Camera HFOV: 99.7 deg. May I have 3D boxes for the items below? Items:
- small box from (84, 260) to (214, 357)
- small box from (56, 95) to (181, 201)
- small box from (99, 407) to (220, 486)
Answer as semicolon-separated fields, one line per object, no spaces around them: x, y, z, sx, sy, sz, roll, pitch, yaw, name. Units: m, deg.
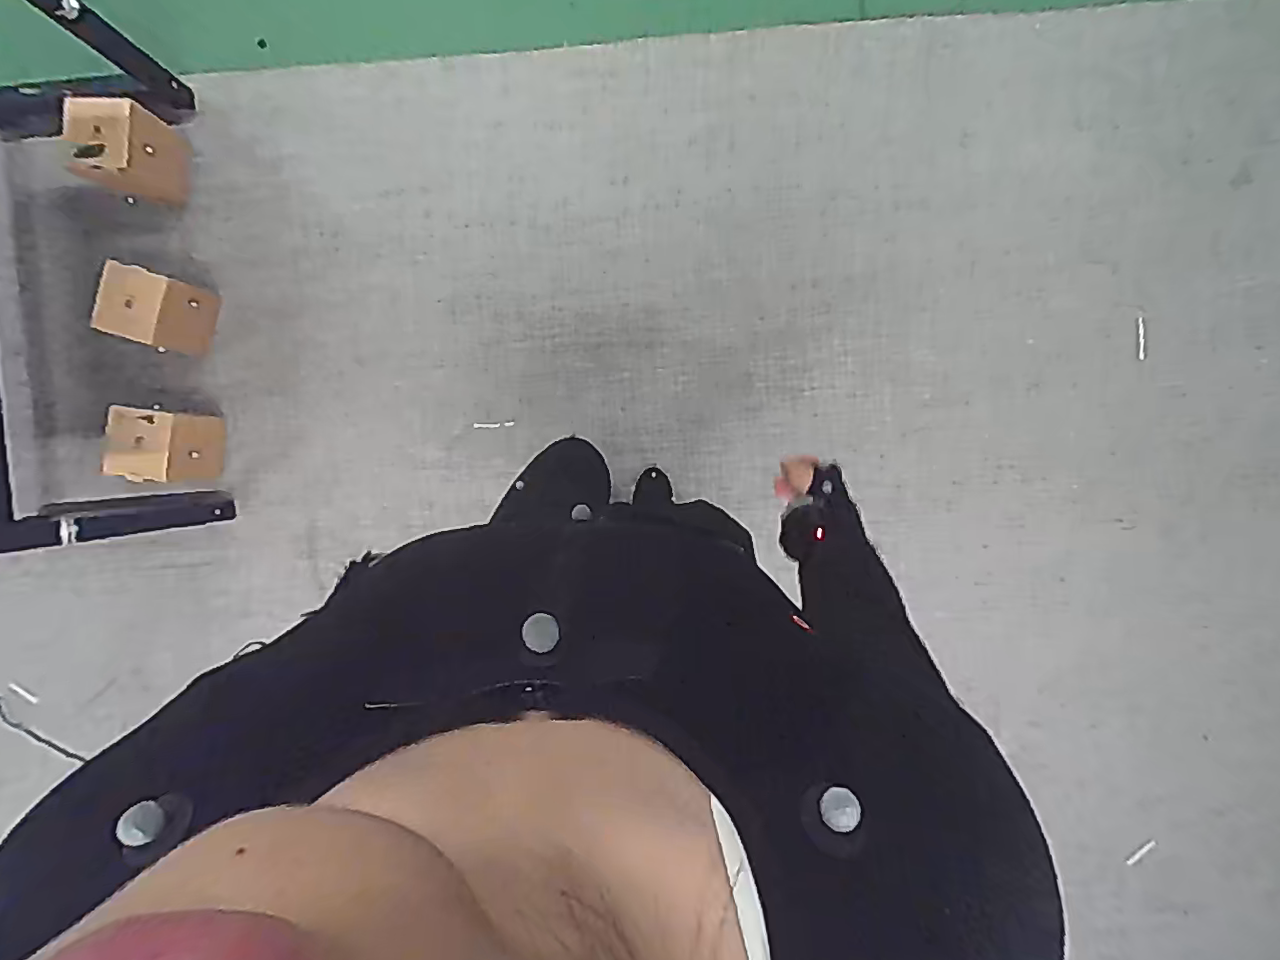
-1.251;-0.434;1.392;0.168;0.176;0.179;16;94;1;small box
-1.316;-0.835;1.375;0.168;0.176;0.179;1;91;0;small box
-1.241;-0.087;1.406;0.168;0.176;0.179;8;93;0;small box
